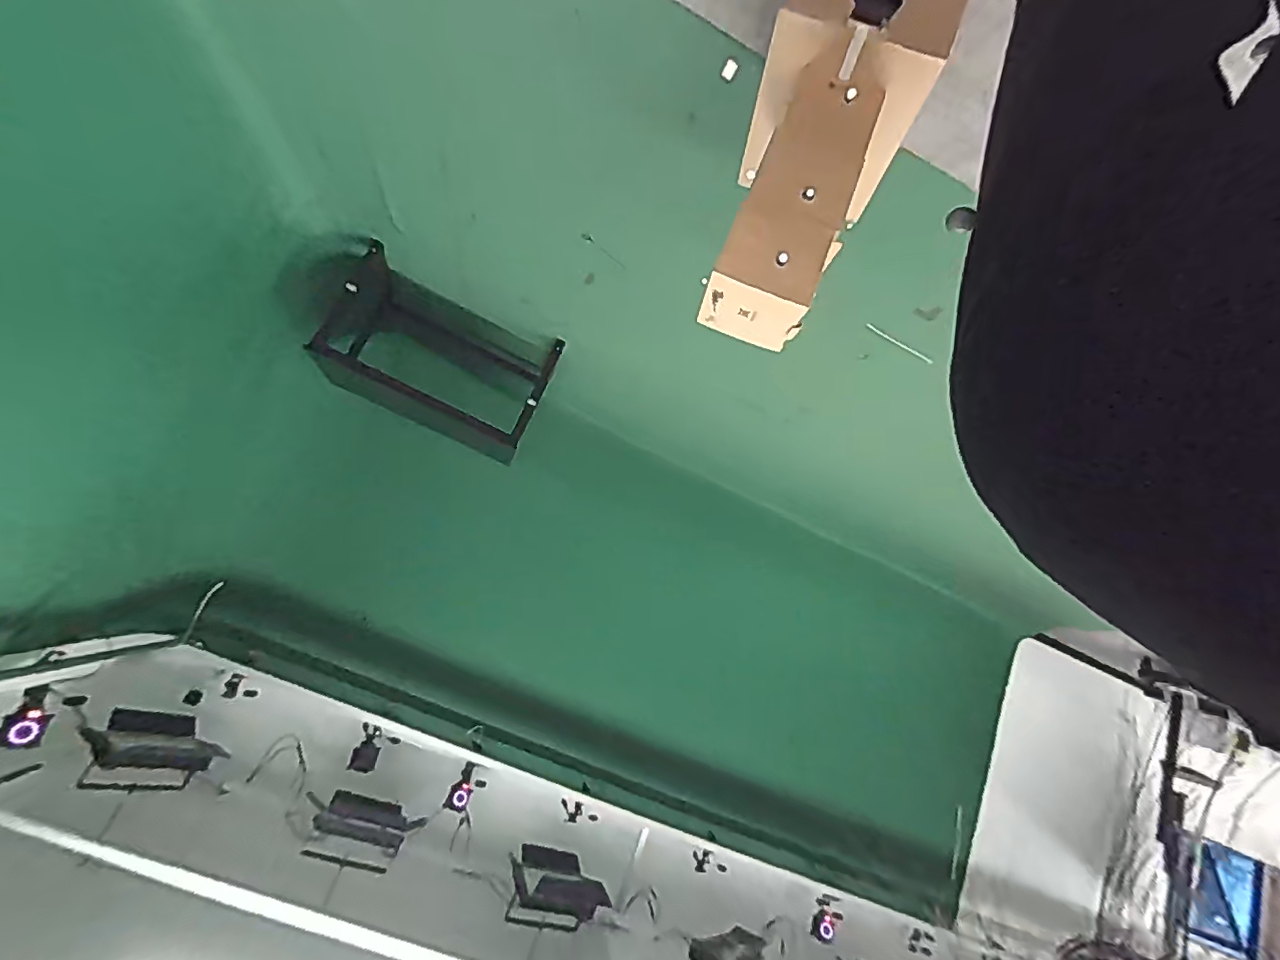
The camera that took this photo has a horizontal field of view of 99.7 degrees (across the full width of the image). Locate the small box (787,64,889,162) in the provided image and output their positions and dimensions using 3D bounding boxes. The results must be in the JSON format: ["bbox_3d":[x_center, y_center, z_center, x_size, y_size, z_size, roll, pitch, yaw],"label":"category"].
[{"bbox_3d":[0.369,-0.667,1.079,0.168,0.176,0.179,21,165,2],"label":"small box"}]

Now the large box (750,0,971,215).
[{"bbox_3d":[0.464,-0.877,1.165,0.320,0.320,0.408,23,167,6],"label":"large box"}]

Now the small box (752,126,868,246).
[{"bbox_3d":[0.303,-0.525,1.029,0.179,0.176,0.168,23,166,1],"label":"small box"}]

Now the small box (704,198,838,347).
[{"bbox_3d":[0.238,-0.378,0.993,0.179,0.176,0.168,21,165,2],"label":"small box"}]
